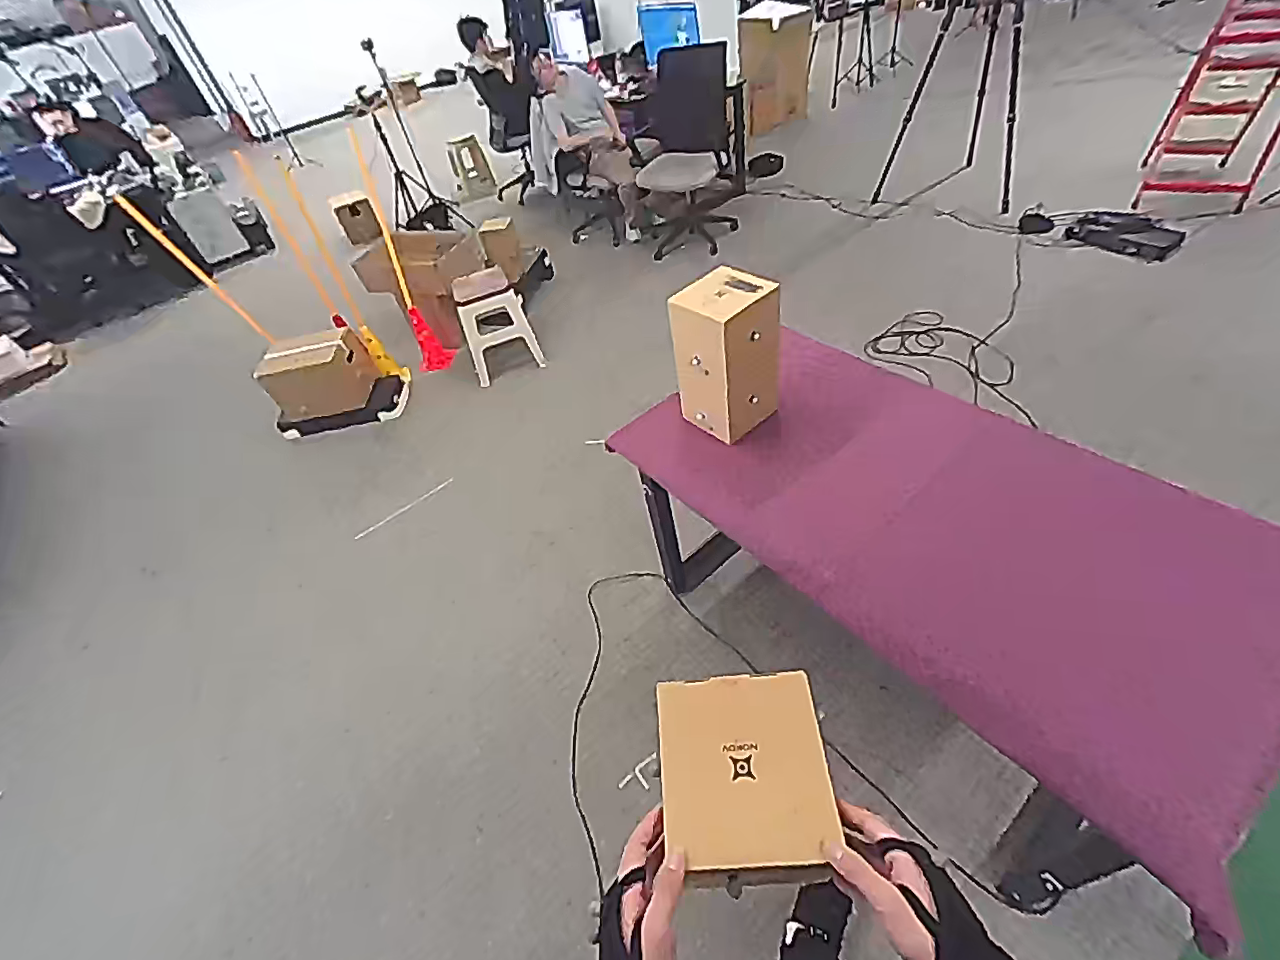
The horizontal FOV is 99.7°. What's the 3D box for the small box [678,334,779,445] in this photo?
[{"bbox_3d":[0.213,-0.219,1.307,0.179,0.176,0.168,-37,50,-21],"label":"small box"}]
